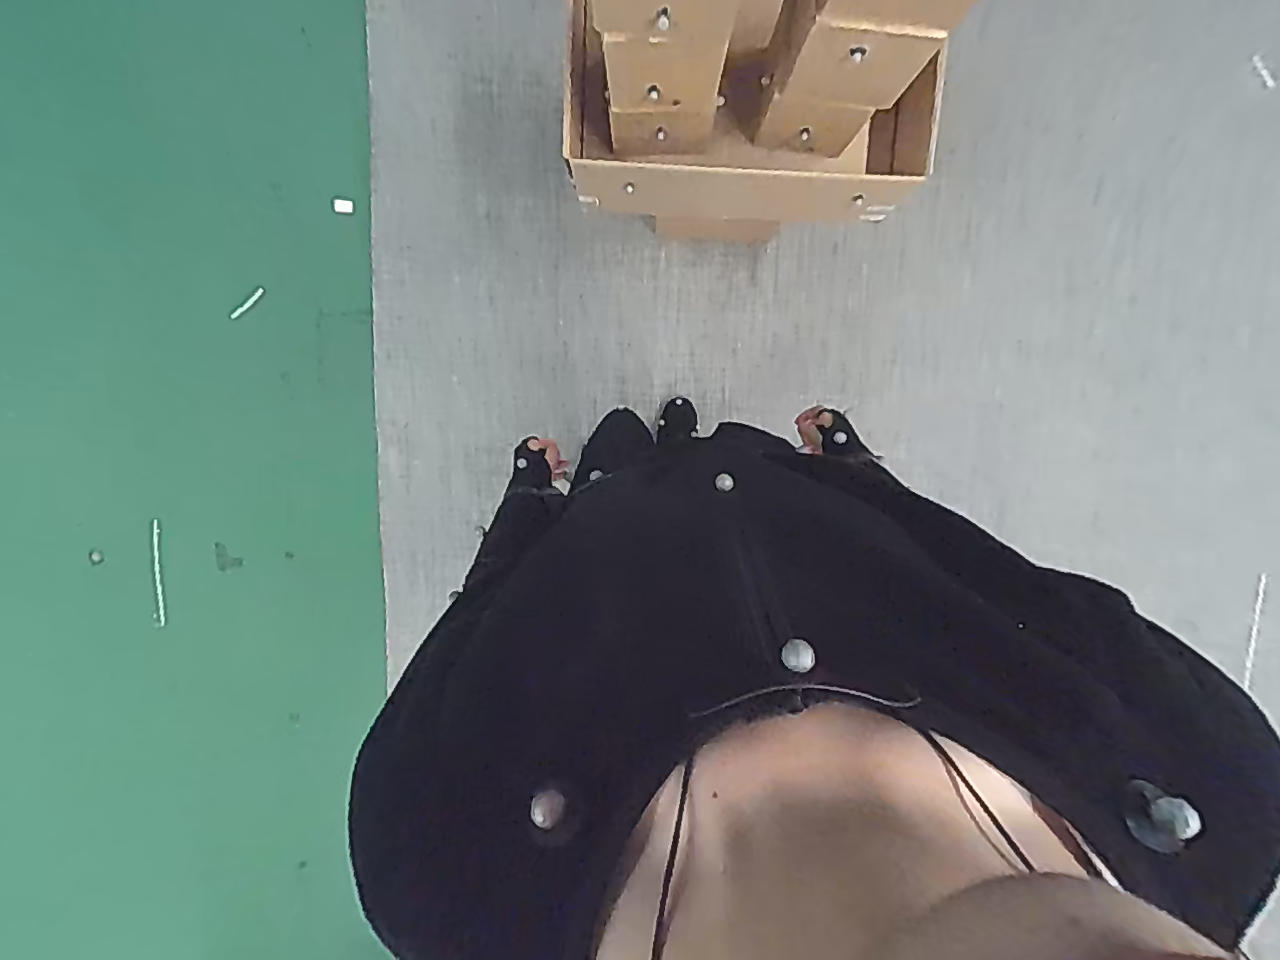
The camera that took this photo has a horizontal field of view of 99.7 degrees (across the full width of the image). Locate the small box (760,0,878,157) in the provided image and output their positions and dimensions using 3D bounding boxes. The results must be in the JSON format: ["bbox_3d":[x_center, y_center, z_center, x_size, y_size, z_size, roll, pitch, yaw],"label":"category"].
[{"bbox_3d":[0.308,-0.682,0.917,0.168,0.176,0.179,8,97,0],"label":"small box"}]

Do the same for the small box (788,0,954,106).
[{"bbox_3d":[0.318,-0.659,0.755,0.179,0.176,0.168,7,97,0],"label":"small box"}]

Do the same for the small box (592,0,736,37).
[{"bbox_3d":[0.034,-0.637,0.600,0.179,0.176,0.168,4,96,0],"label":"small box"}]

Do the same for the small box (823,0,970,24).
[{"bbox_3d":[0.321,-0.649,0.592,0.179,0.176,0.168,6,96,1],"label":"small box"}]
